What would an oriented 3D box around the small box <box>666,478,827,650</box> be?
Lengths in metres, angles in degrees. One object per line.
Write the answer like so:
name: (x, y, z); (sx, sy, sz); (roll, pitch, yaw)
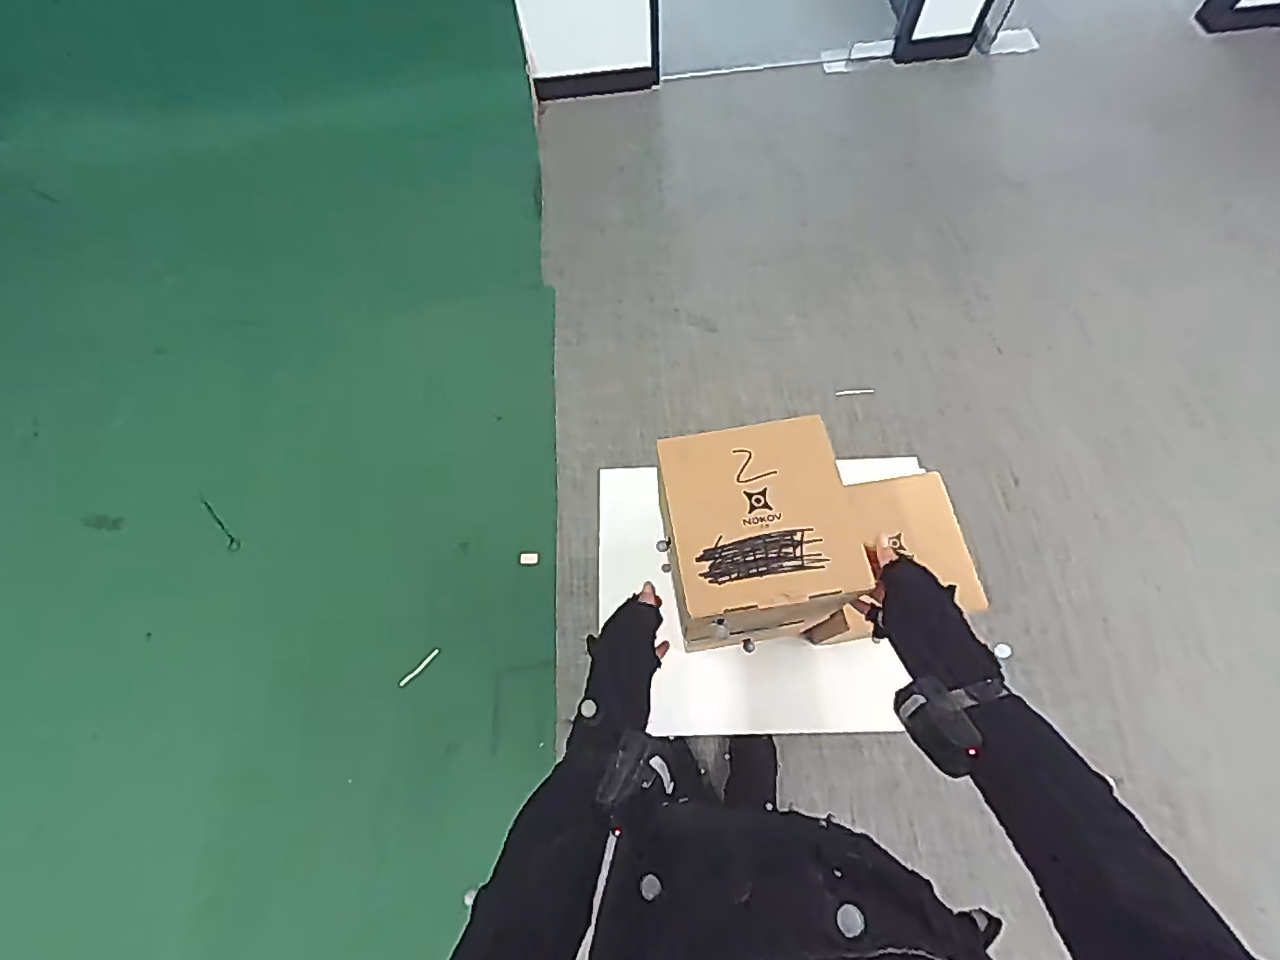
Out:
small box: (0.126, 0.119, 0.722); (0.168, 0.176, 0.179); (-10, 68, 0)
